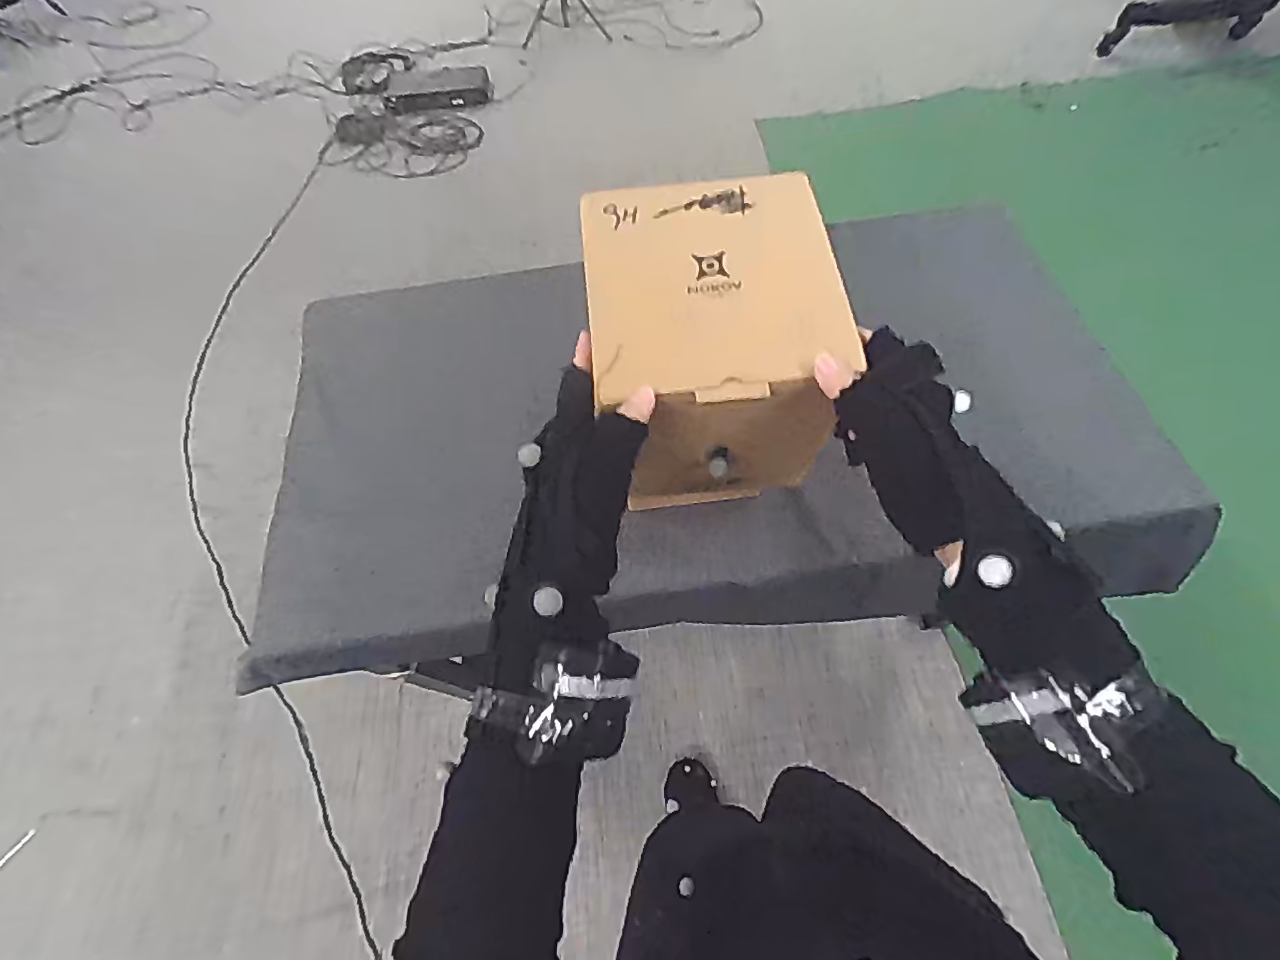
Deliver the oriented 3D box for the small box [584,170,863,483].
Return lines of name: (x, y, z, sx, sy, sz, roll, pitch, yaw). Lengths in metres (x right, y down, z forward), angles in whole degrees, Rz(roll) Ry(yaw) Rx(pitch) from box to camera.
small box: (0.051, -0.104, 0.431, 0.168, 0.176, 0.179, -6, 68, -1)

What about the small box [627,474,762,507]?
small box: (0.064, -0.079, 0.684, 0.179, 0.176, 0.168, -8, 62, 1)
